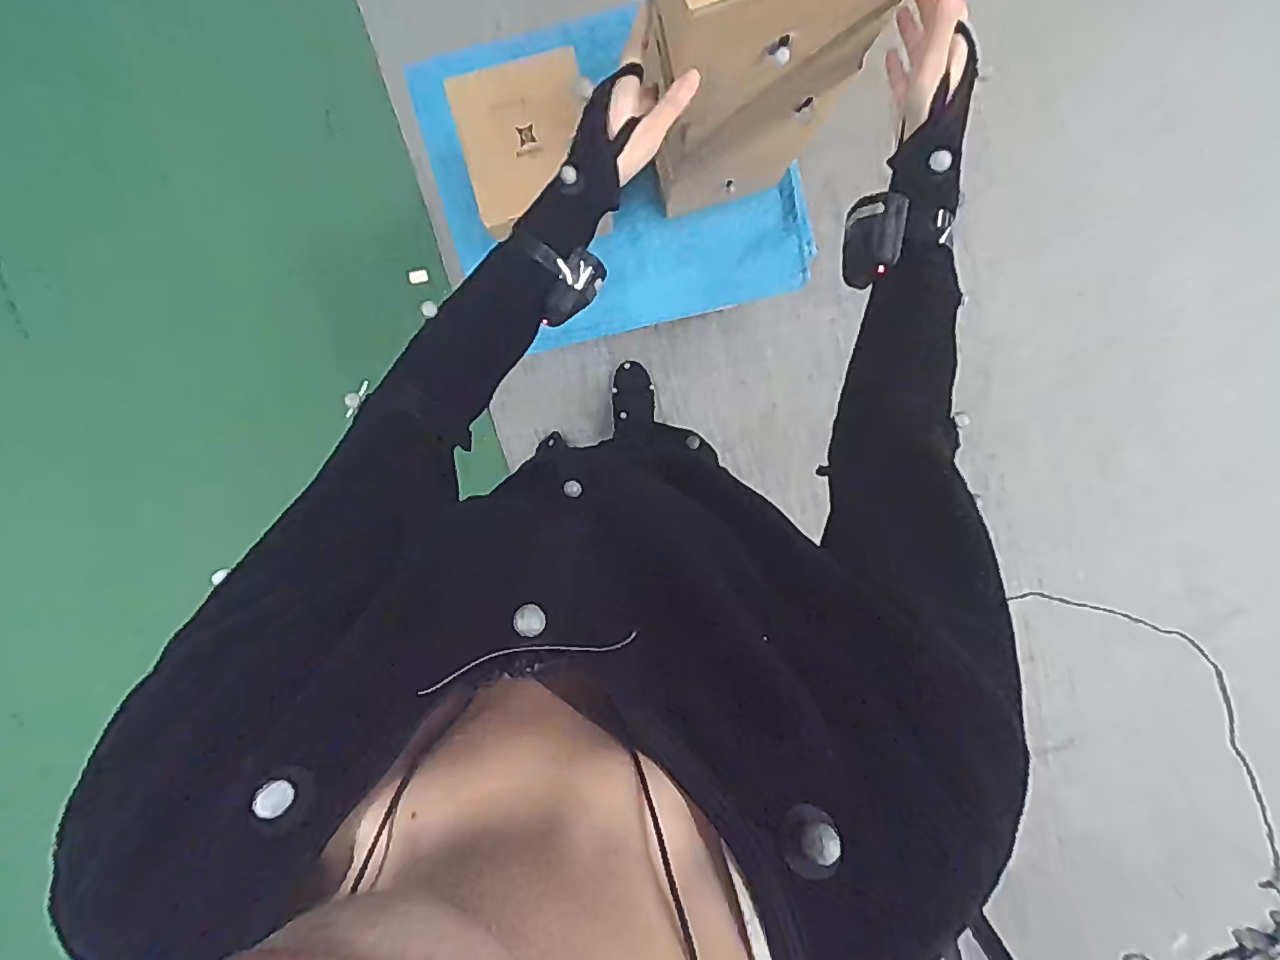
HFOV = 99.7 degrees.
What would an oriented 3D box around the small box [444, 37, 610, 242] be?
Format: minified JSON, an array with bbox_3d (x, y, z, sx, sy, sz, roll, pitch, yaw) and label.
[{"bbox_3d":[-0.138,-0.438,0.733,0.168,0.176,0.179,-13,100,1],"label":"small box"}]

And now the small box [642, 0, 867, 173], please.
[{"bbox_3d":[0.104,-0.454,0.563,0.179,0.176,0.168,-16,100,4],"label":"small box"}]

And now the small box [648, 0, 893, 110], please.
[{"bbox_3d":[0.094,-0.420,0.402,0.179,0.176,0.168,-14,100,4],"label":"small box"}]
